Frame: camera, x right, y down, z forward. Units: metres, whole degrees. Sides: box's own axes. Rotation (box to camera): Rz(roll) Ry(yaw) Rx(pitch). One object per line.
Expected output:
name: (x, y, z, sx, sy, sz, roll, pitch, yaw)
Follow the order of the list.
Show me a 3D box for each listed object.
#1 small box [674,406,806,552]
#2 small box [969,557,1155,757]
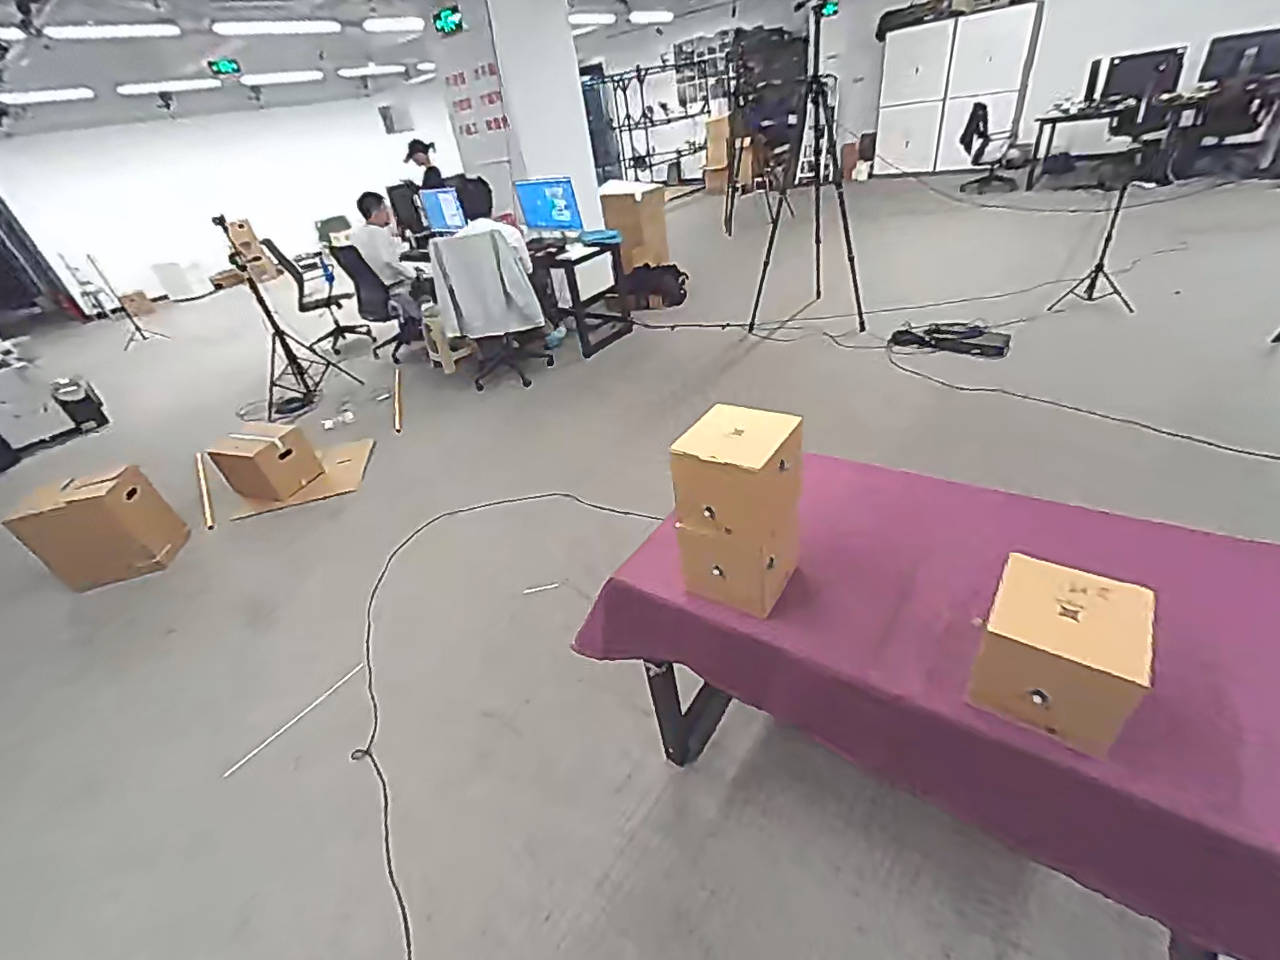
small box: (0.179, -0.006, 0.952, 0.168, 0.176, 0.179, 16, 42, 33)
small box: (0.589, 0.248, 0.768, 0.168, 0.176, 0.179, 19, 43, 35)
